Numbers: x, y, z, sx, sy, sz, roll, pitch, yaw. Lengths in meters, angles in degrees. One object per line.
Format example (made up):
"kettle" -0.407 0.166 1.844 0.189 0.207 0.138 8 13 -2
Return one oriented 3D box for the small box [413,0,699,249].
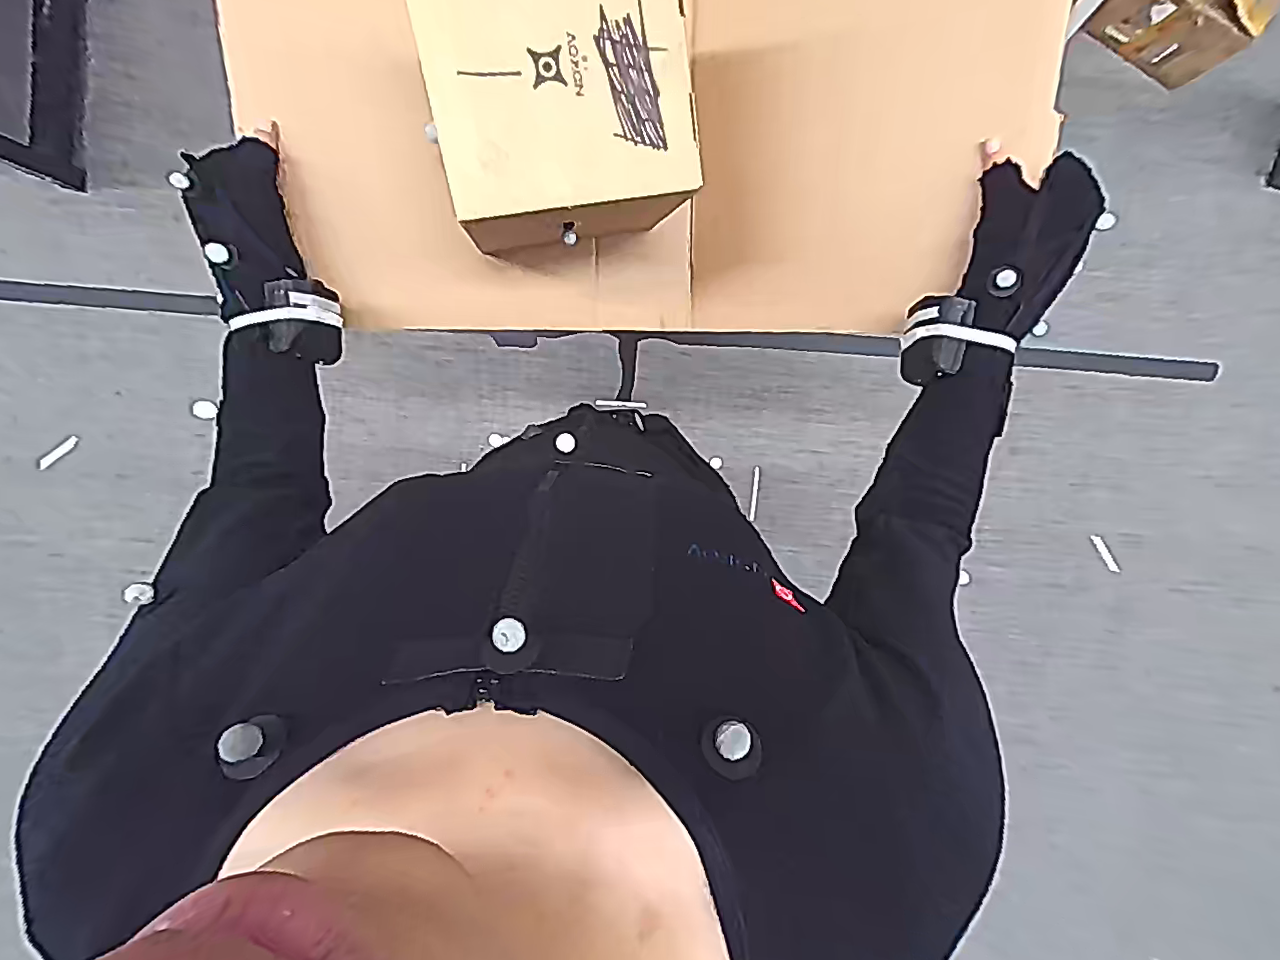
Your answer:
"small box" -0.066 -0.293 0.438 0.179 0.176 0.168 -11 108 -7
